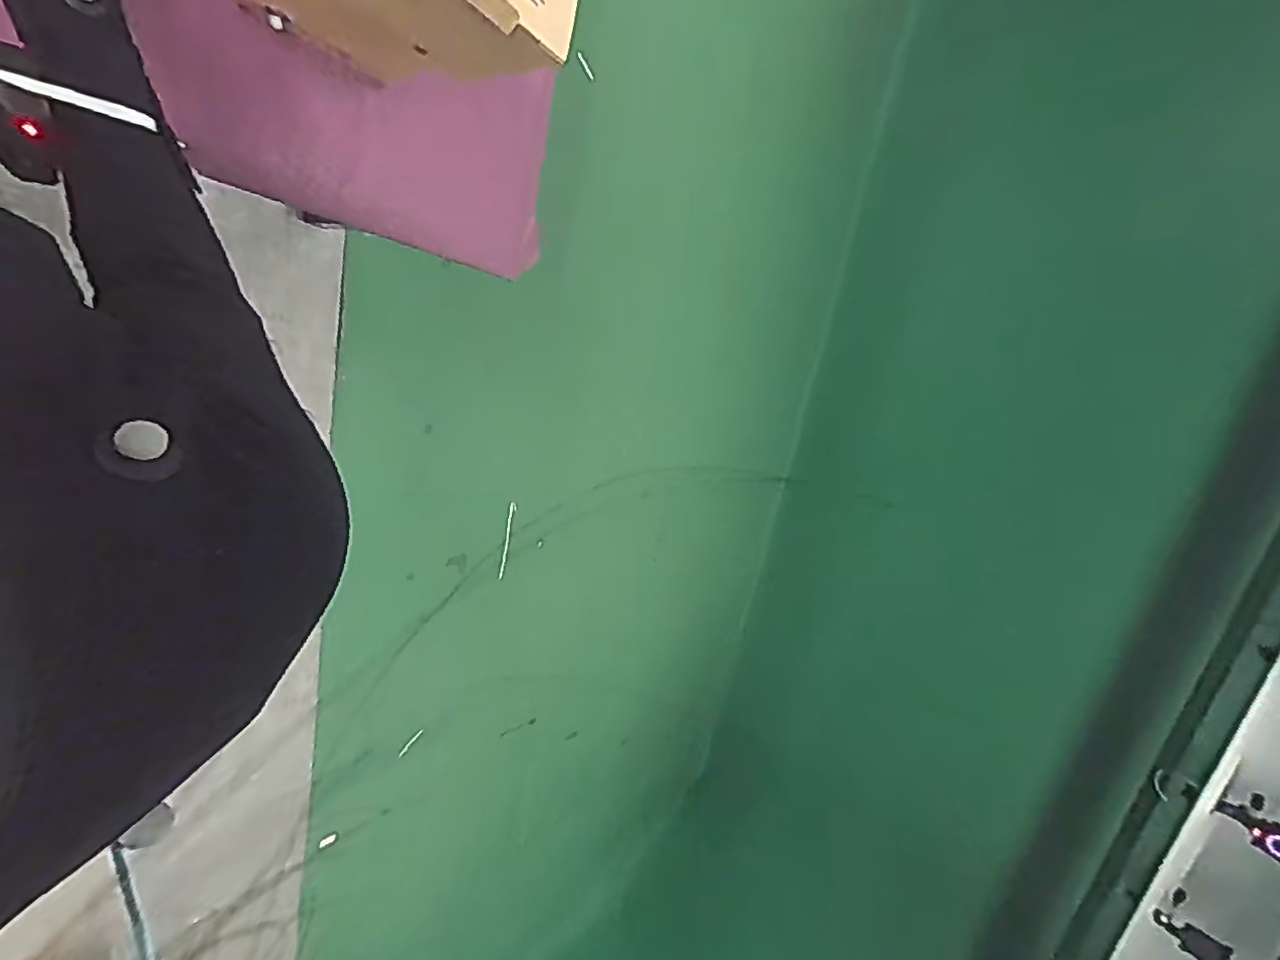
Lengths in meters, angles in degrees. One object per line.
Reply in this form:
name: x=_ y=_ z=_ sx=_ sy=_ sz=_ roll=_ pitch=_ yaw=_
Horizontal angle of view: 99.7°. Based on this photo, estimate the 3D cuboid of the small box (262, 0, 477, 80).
small box: x=-0.277 y=-0.543 z=0.545 sx=0.168 sy=0.176 sz=0.179 roll=1 pitch=108 yaw=-55
